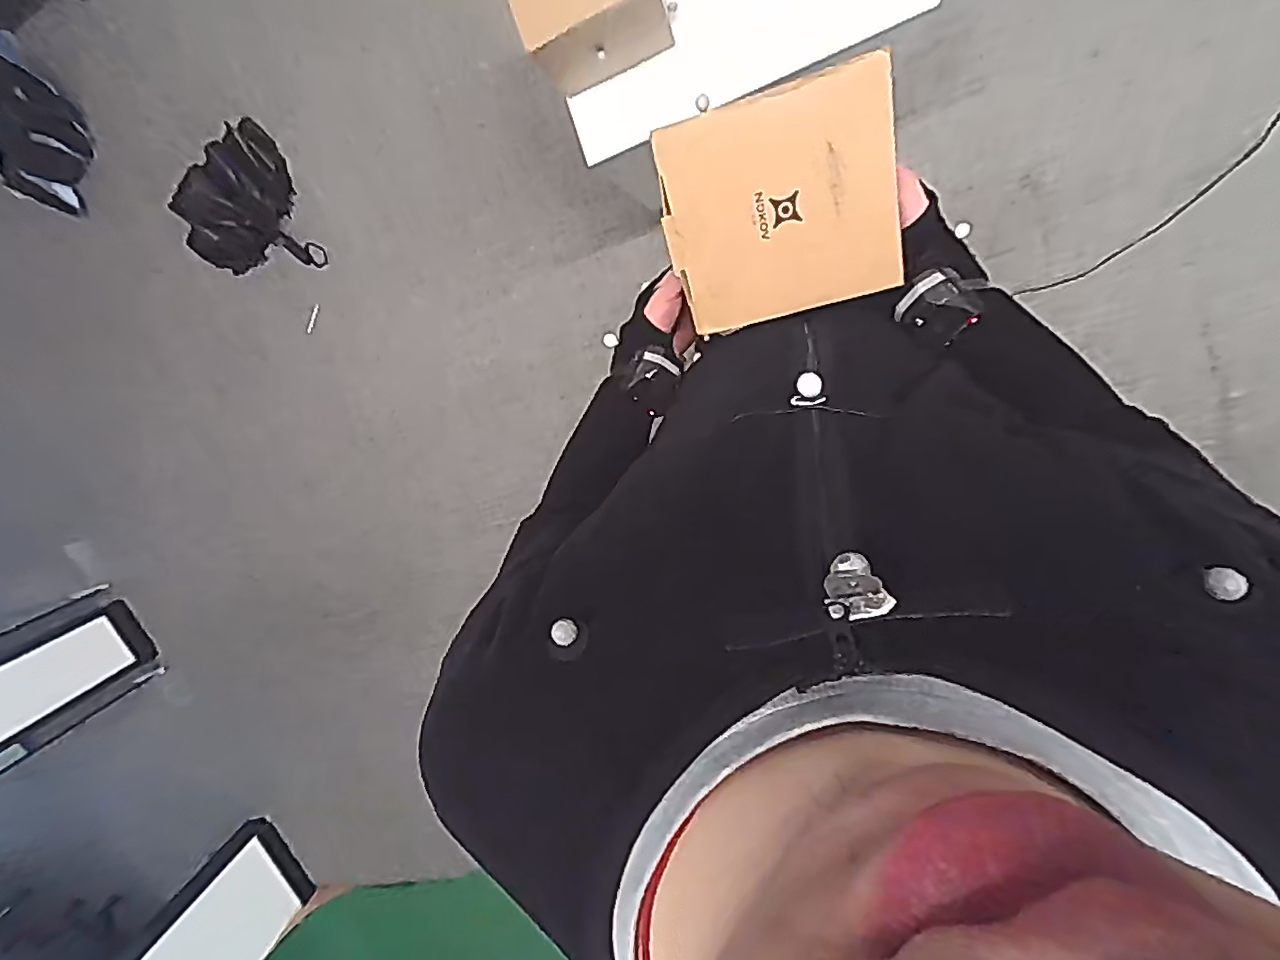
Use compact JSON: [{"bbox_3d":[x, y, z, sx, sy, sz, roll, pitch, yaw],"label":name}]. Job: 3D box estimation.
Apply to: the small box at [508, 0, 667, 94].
[{"bbox_3d":[-0.071,-0.644,0.695,0.179,0.176,0.168,-14,105,17],"label":"small box"}]
